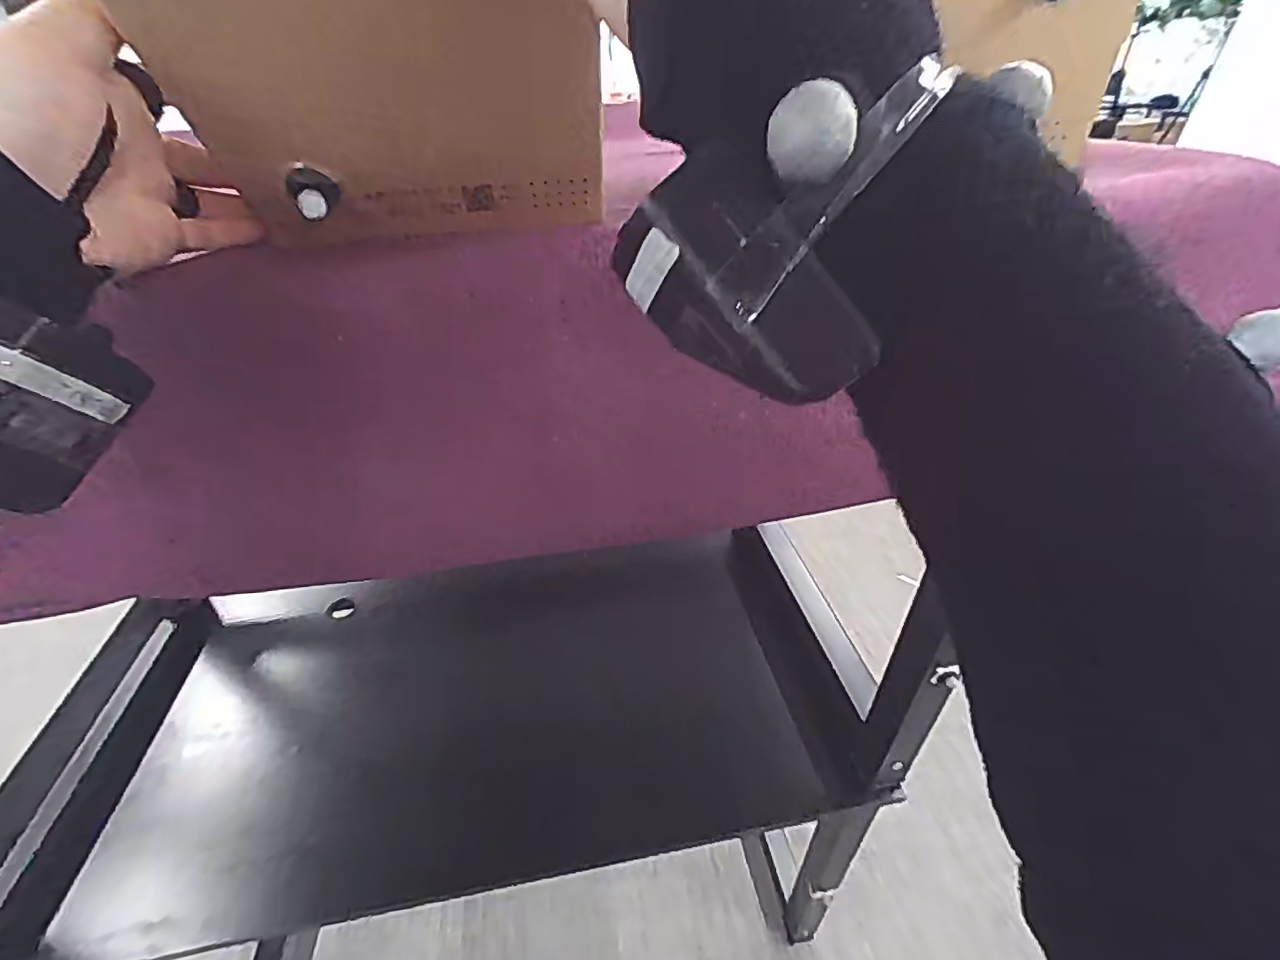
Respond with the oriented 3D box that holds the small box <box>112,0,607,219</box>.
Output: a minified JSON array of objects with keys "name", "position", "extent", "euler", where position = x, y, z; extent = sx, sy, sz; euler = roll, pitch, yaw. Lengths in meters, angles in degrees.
[{"name":"small box","position":[-0.104,-0.233,0.225],"extent":[0.168,0.176,0.179],"euler":[-7,69,-6]}]
